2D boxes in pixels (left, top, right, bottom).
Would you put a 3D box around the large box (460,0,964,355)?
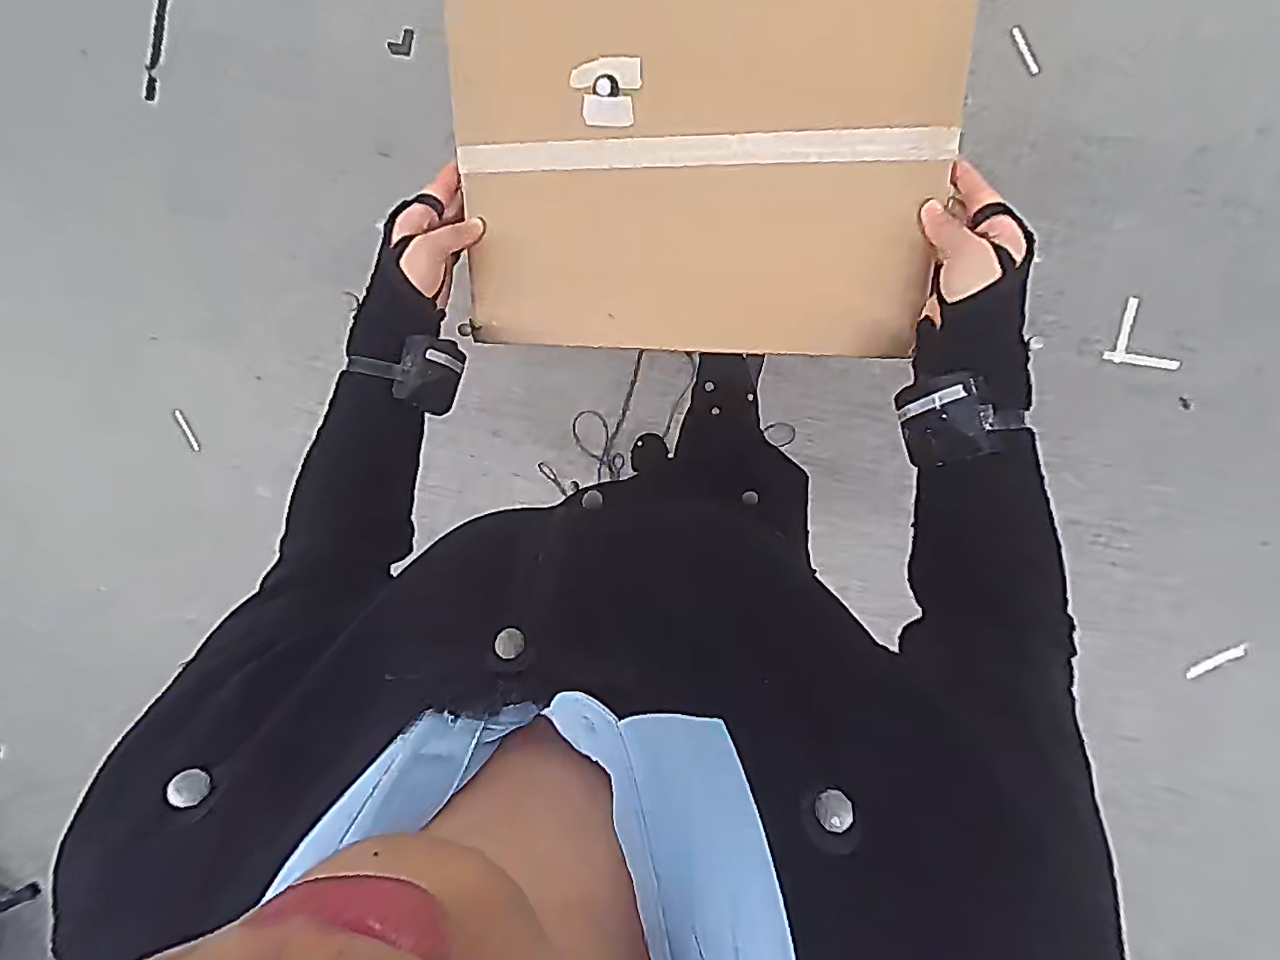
[{"bbox_3d":[0.073,-0.314,0.598,0.408,0.320,0.320,4,107,10],"label":"large box"}]
